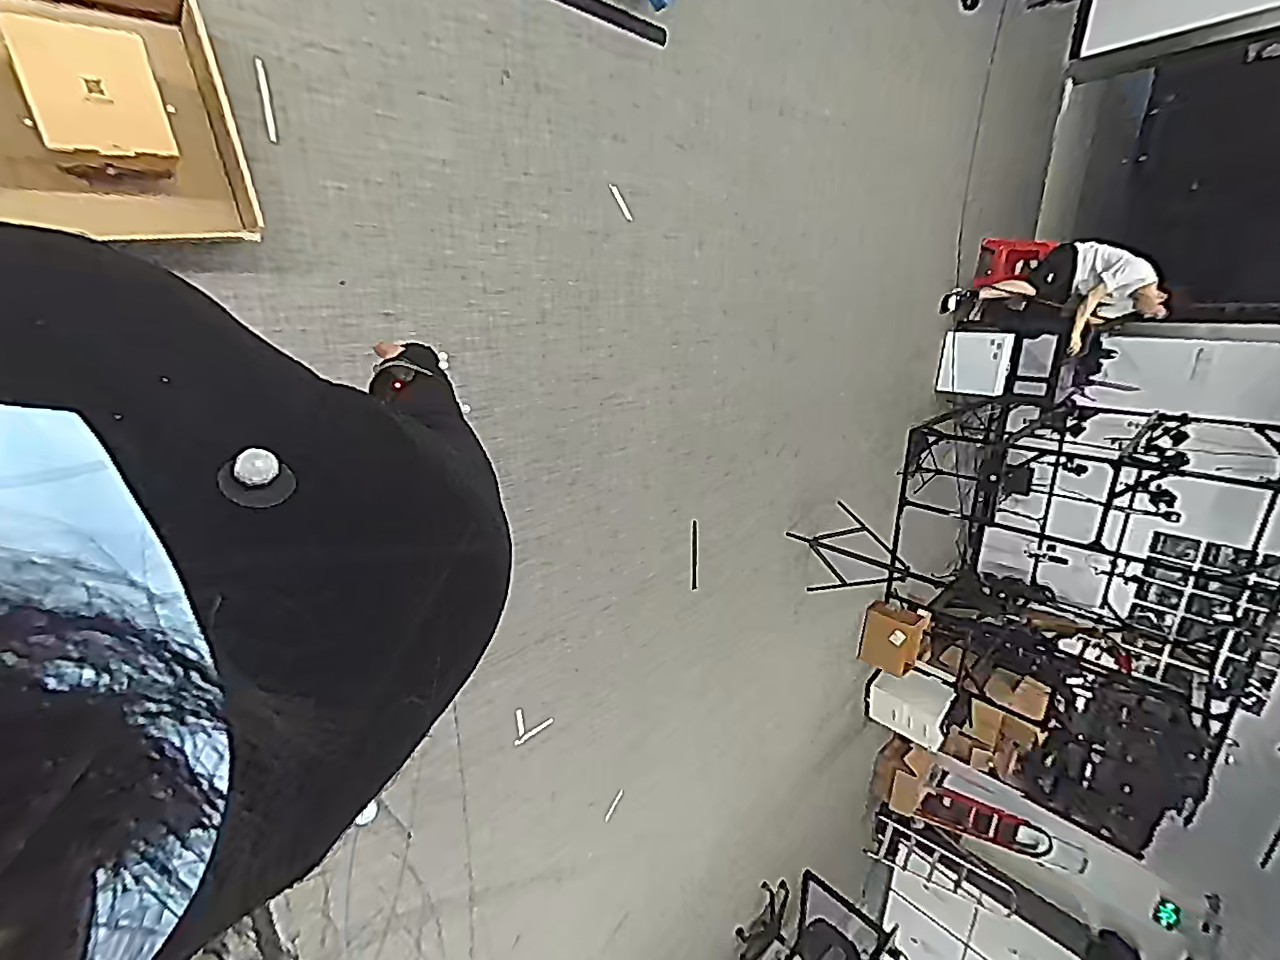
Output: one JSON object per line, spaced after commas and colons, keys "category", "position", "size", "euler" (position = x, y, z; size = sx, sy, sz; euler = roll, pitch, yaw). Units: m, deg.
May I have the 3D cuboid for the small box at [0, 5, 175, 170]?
{"category": "small box", "position": [-0.916, -0.636, 0.901], "size": [0.168, 0.176, 0.179], "euler": [-22, 118, -38]}
